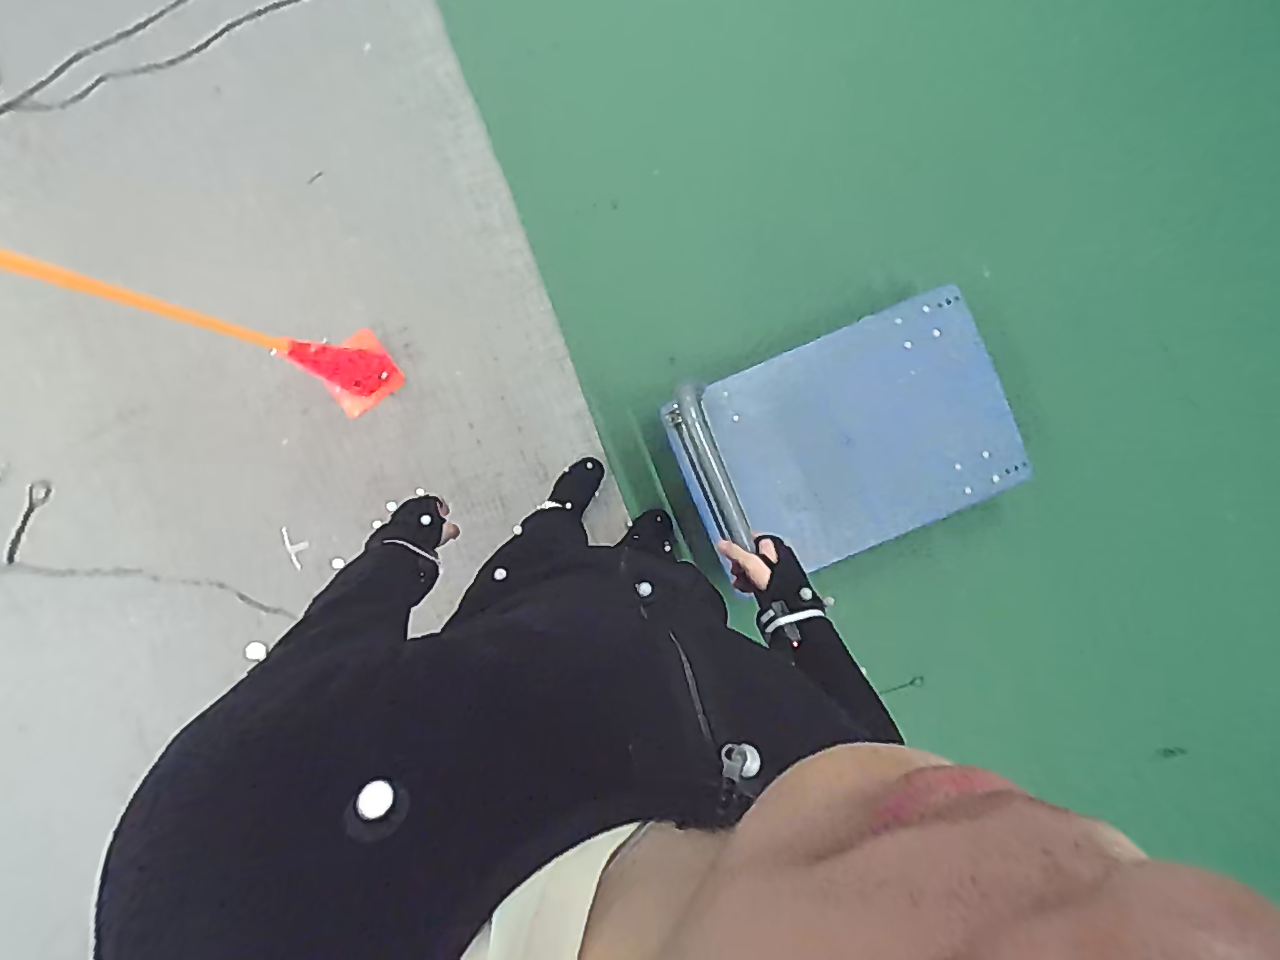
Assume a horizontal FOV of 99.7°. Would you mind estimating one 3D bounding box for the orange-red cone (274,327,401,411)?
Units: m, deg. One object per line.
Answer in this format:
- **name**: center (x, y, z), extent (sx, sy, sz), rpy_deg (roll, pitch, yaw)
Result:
- **orange-red cone**: center (-0.832, -0.328, 1.429), extent (0.198, 0.360, 0.199), rpy_deg (-35, 90, 0)
